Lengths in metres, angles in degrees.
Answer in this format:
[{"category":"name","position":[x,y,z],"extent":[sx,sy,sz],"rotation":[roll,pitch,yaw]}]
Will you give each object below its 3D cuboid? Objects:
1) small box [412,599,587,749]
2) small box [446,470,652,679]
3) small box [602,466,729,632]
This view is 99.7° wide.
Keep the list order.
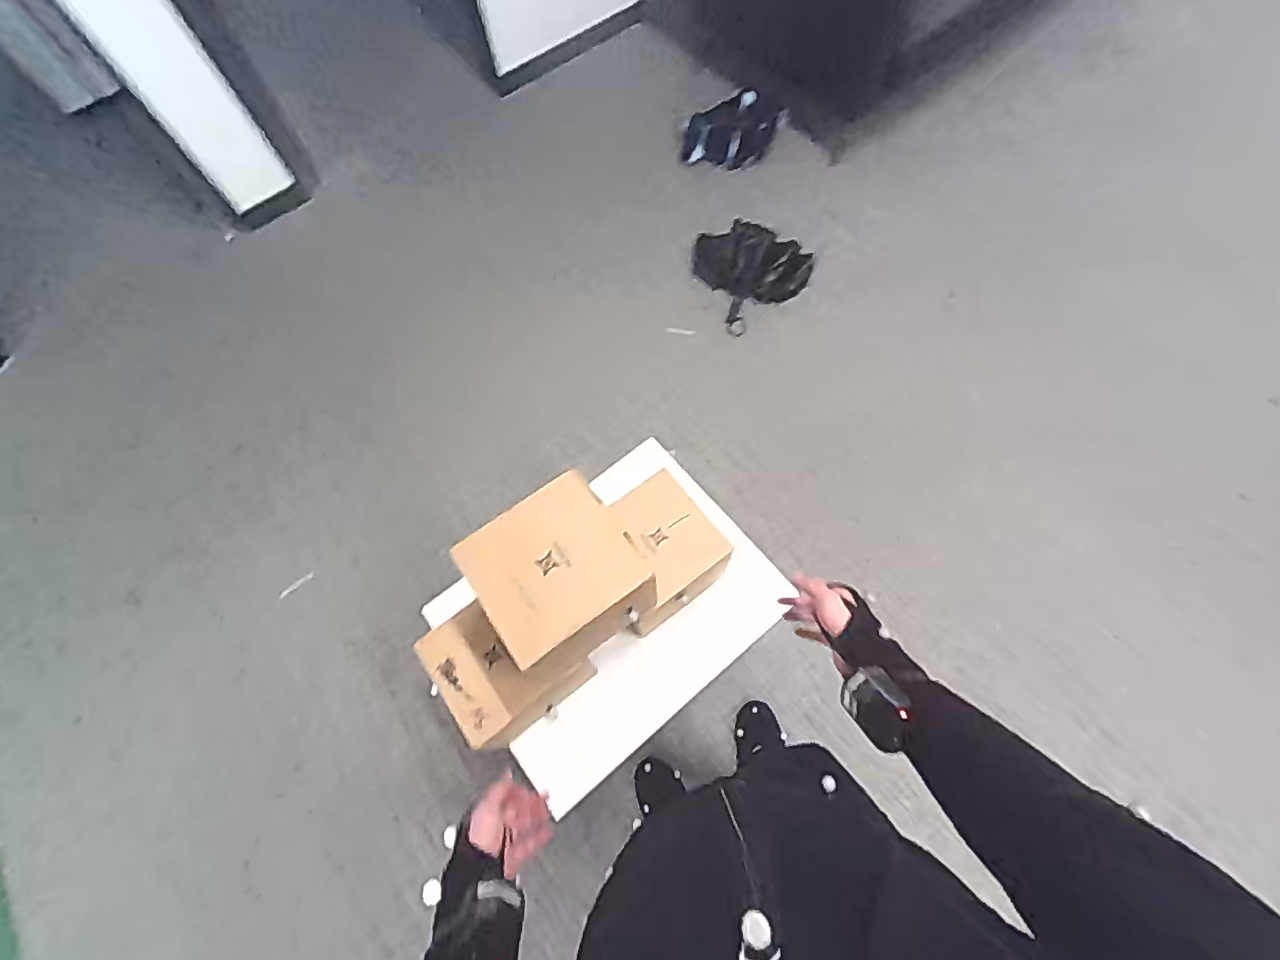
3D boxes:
[{"category":"small box","position":[-0.191,0.263,0.793],"extent":[0.179,0.176,0.168],"rotation":[-37,69,-15]},{"category":"small box","position":[-0.100,0.124,0.671],"extent":[0.179,0.176,0.168],"rotation":[-36,68,-11]},{"category":"small box","position":[0.016,0.116,0.845],"extent":[0.179,0.176,0.168],"rotation":[-35,70,-12]}]
